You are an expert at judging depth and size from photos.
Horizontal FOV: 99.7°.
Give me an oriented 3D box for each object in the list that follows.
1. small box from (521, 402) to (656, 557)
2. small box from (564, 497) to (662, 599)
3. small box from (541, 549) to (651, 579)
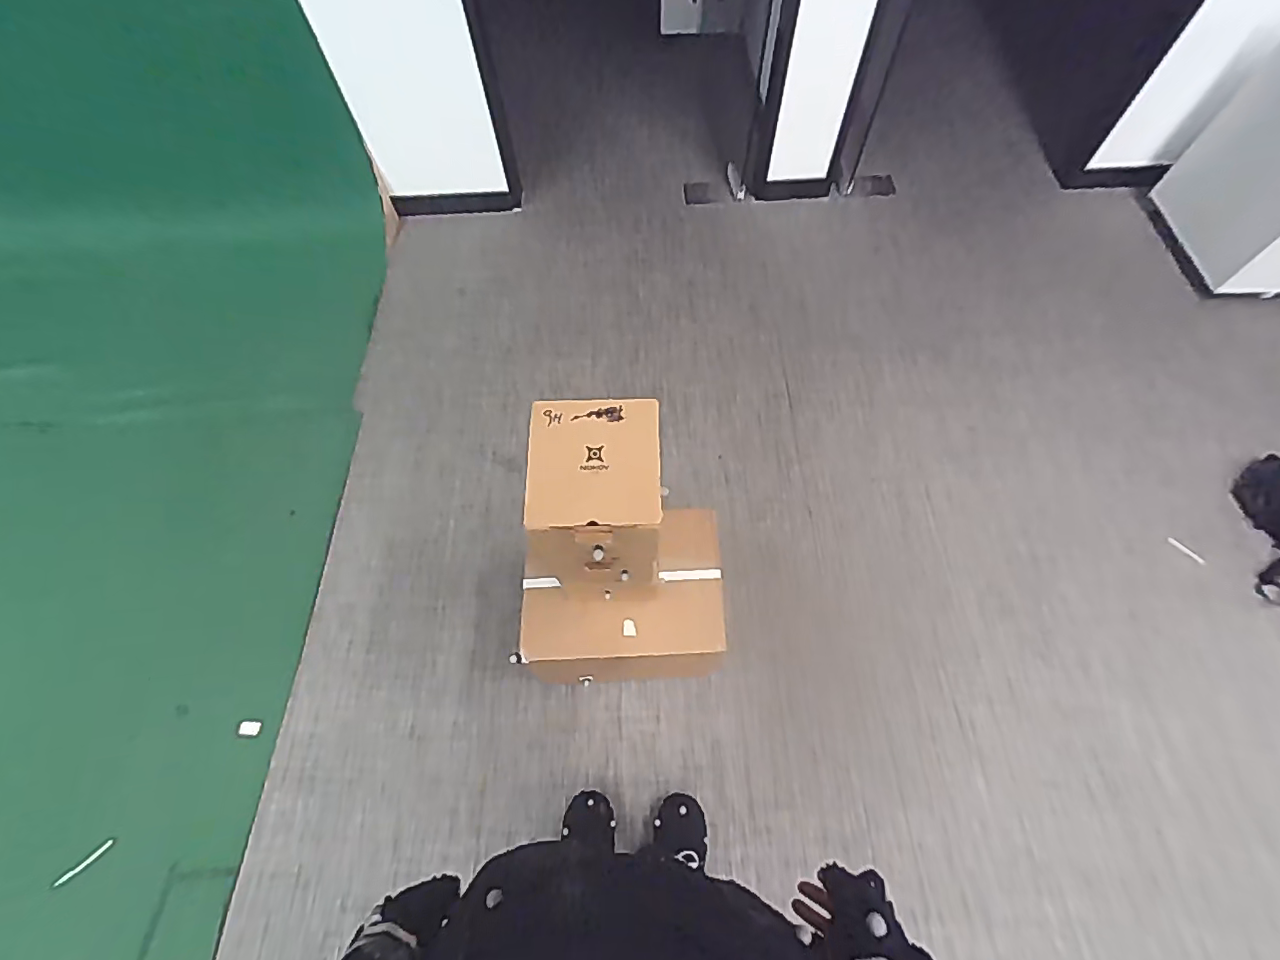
[{"bbox_3d":[-0.062,0.009,0.751,0.168,0.176,0.179,-1,69,0],"label":"small box"},{"bbox_3d":[-0.051,0.134,1.051,0.179,0.176,0.168,-3,69,0],"label":"small box"},{"bbox_3d":[-0.064,0.067,0.904,0.168,0.176,0.179,0,67,0],"label":"small box"}]
